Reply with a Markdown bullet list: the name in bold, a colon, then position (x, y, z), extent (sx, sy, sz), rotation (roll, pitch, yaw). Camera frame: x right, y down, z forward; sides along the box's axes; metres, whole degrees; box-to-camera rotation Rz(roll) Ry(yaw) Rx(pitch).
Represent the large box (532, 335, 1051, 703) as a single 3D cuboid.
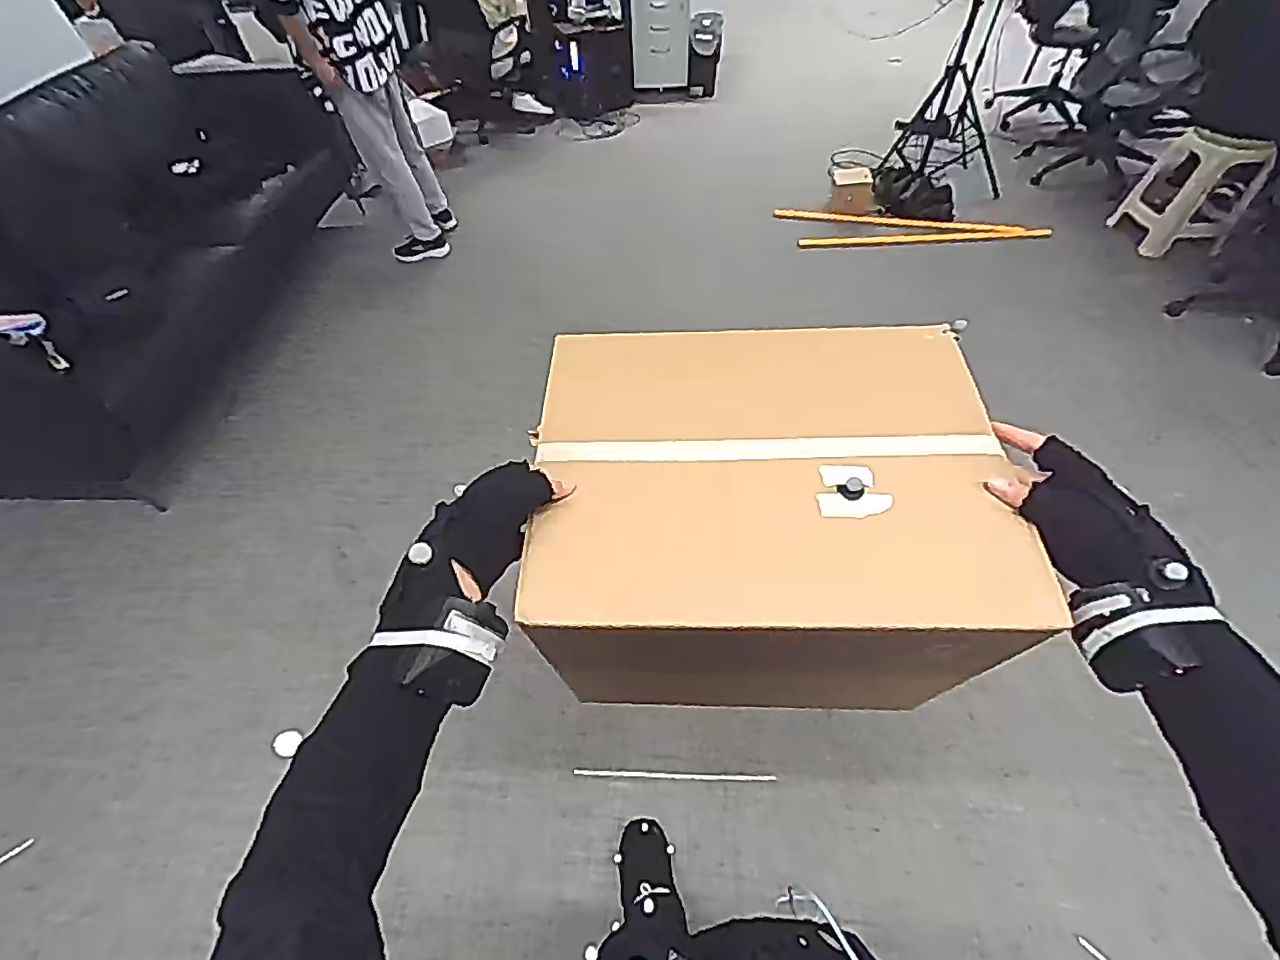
- **large box**: position (0.118, 0.059, 0.616), extent (0.408, 0.320, 0.320), rotation (0, 57, 3)
